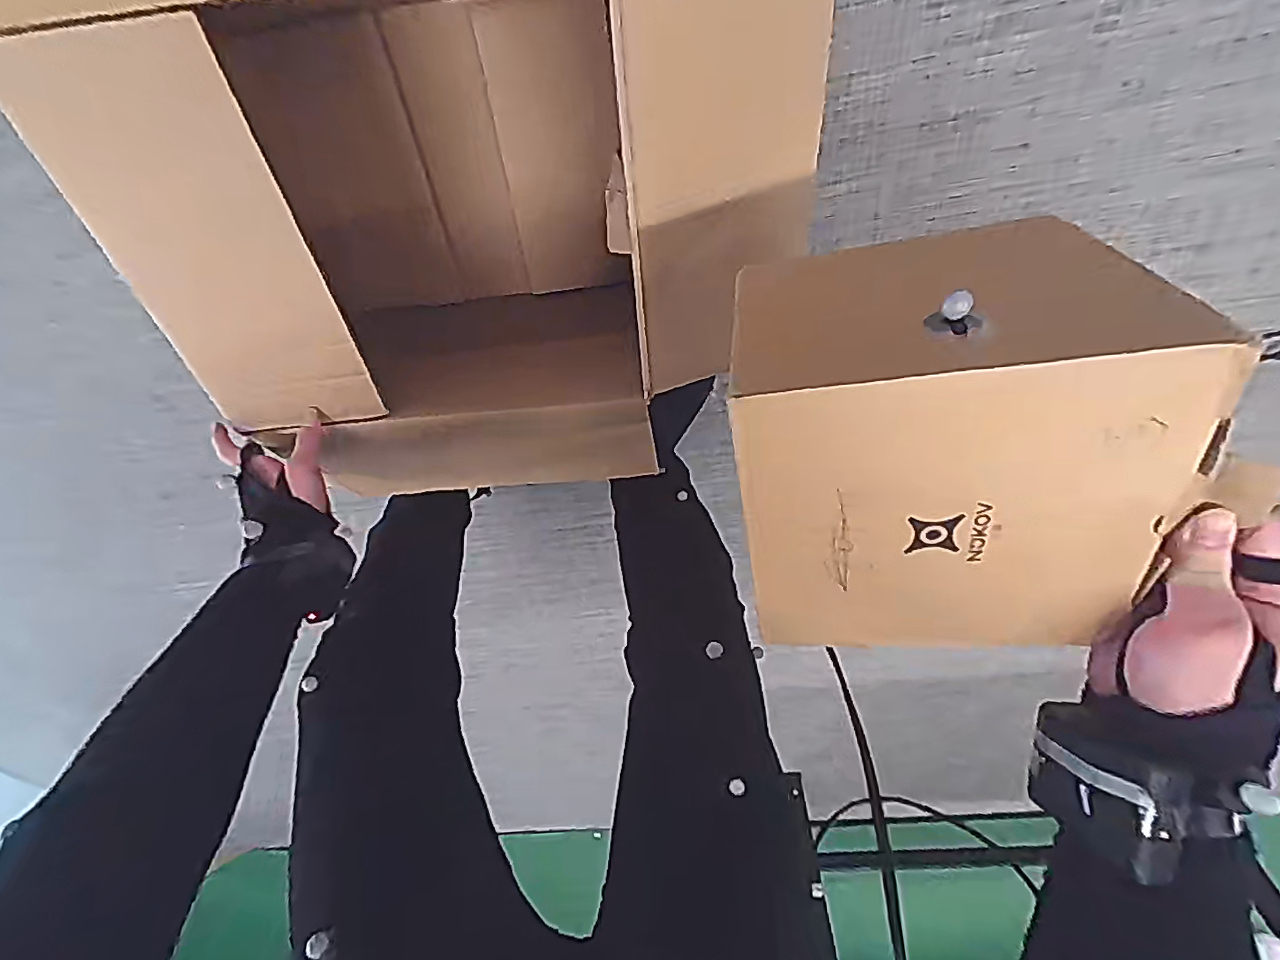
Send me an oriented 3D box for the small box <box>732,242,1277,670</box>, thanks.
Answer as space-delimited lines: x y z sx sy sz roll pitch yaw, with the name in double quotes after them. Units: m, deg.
0.145 -0.018 0.298 0.179 0.176 0.168 -3 126 14 "small box"
